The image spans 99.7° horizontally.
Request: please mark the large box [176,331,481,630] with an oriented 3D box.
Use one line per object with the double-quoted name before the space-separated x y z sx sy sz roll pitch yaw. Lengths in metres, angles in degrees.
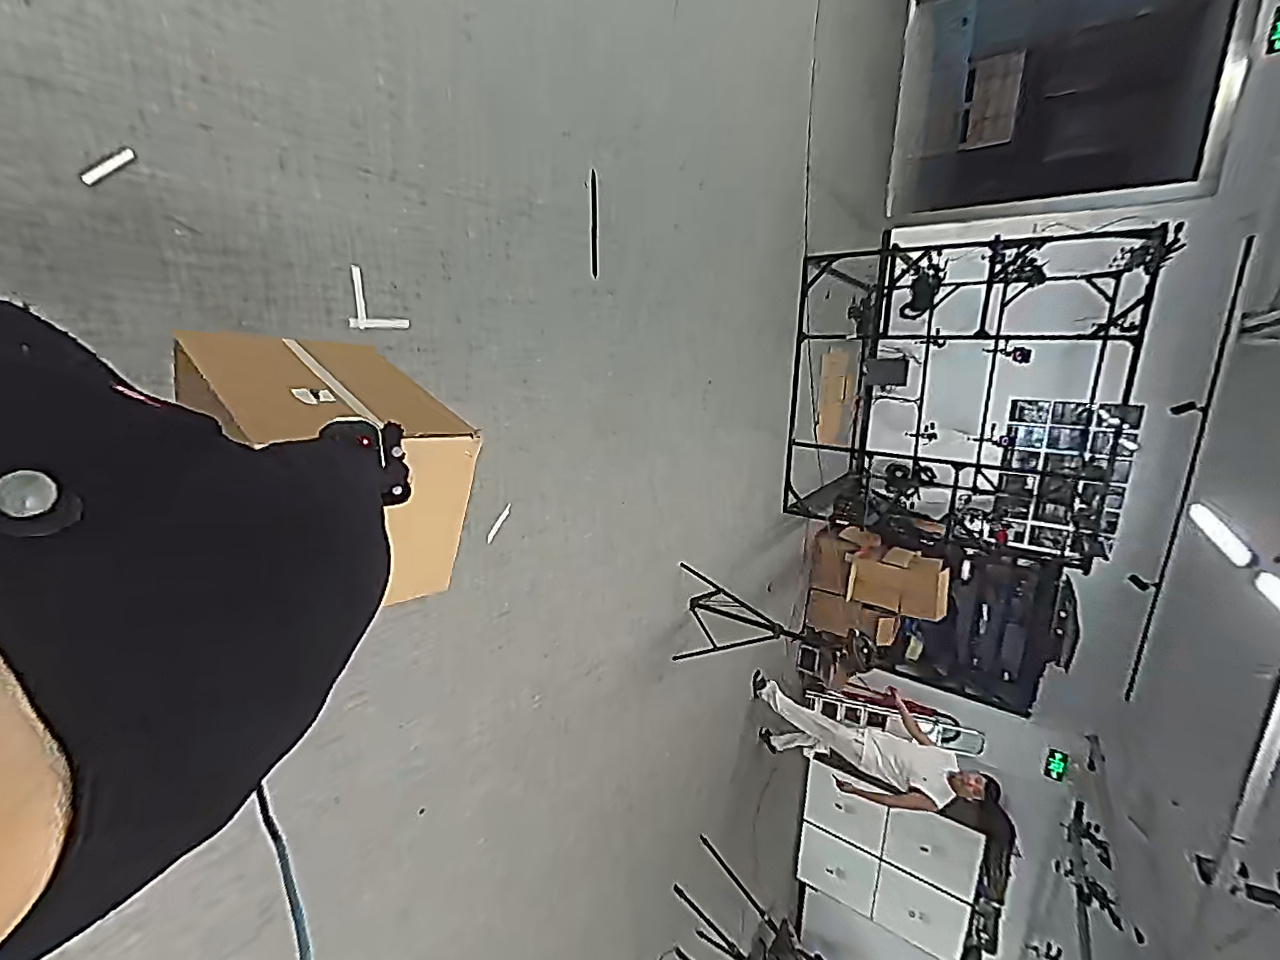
"large box" -0.544 -0.022 0.923 0.320 0.408 0.320 -10 127 -50
